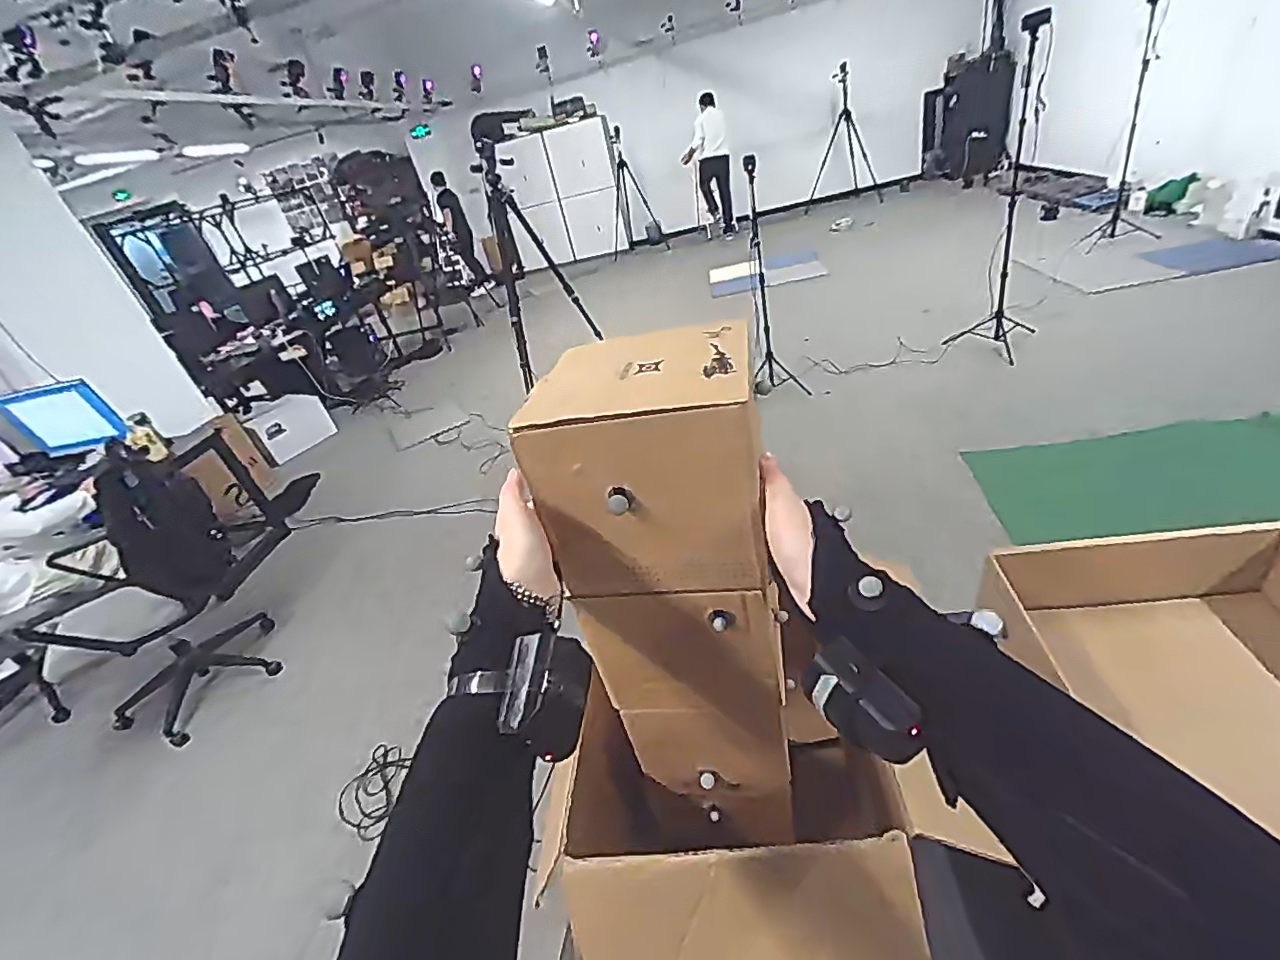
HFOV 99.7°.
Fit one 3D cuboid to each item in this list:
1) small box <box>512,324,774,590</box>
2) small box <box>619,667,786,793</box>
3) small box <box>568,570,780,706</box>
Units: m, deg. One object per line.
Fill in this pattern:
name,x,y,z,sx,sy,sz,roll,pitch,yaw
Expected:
small box,0.019,-0.018,0.478,0.179,0.176,0.168,-5,34,15
small box,0.084,0.247,0.657,0.168,0.176,0.179,-6,35,14
small box,0.047,0.117,0.568,0.179,0.176,0.168,-5,34,14
